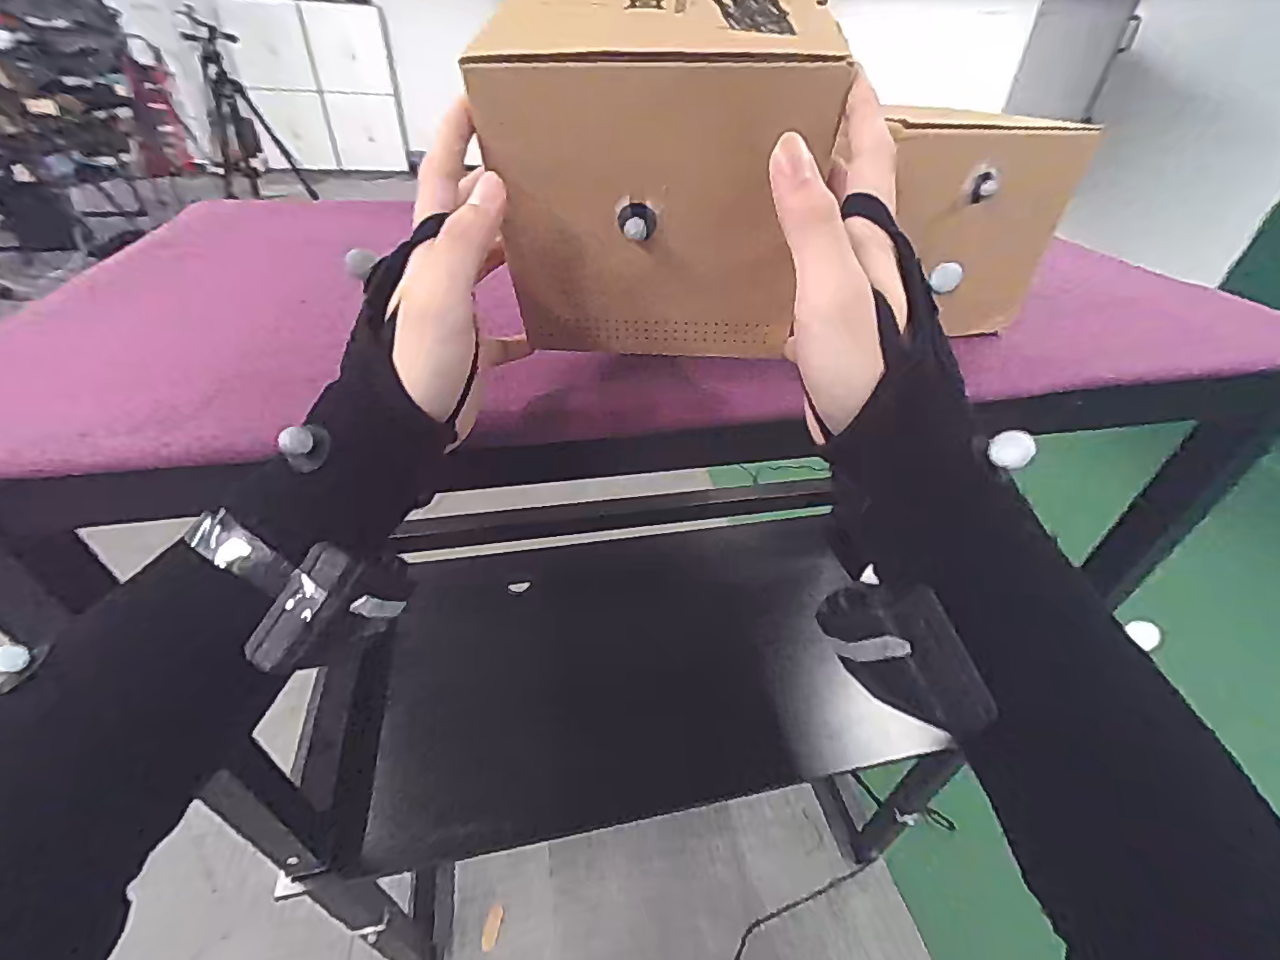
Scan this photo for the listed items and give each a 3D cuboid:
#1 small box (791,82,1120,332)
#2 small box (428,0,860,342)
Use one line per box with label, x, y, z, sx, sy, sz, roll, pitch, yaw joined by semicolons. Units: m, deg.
small box;0.241;-0.241;0.479;0.179;0.176;0.168;-3;40;-10
small box;0.011;-0.201;0.323;0.179;0.176;0.168;5;55;6
